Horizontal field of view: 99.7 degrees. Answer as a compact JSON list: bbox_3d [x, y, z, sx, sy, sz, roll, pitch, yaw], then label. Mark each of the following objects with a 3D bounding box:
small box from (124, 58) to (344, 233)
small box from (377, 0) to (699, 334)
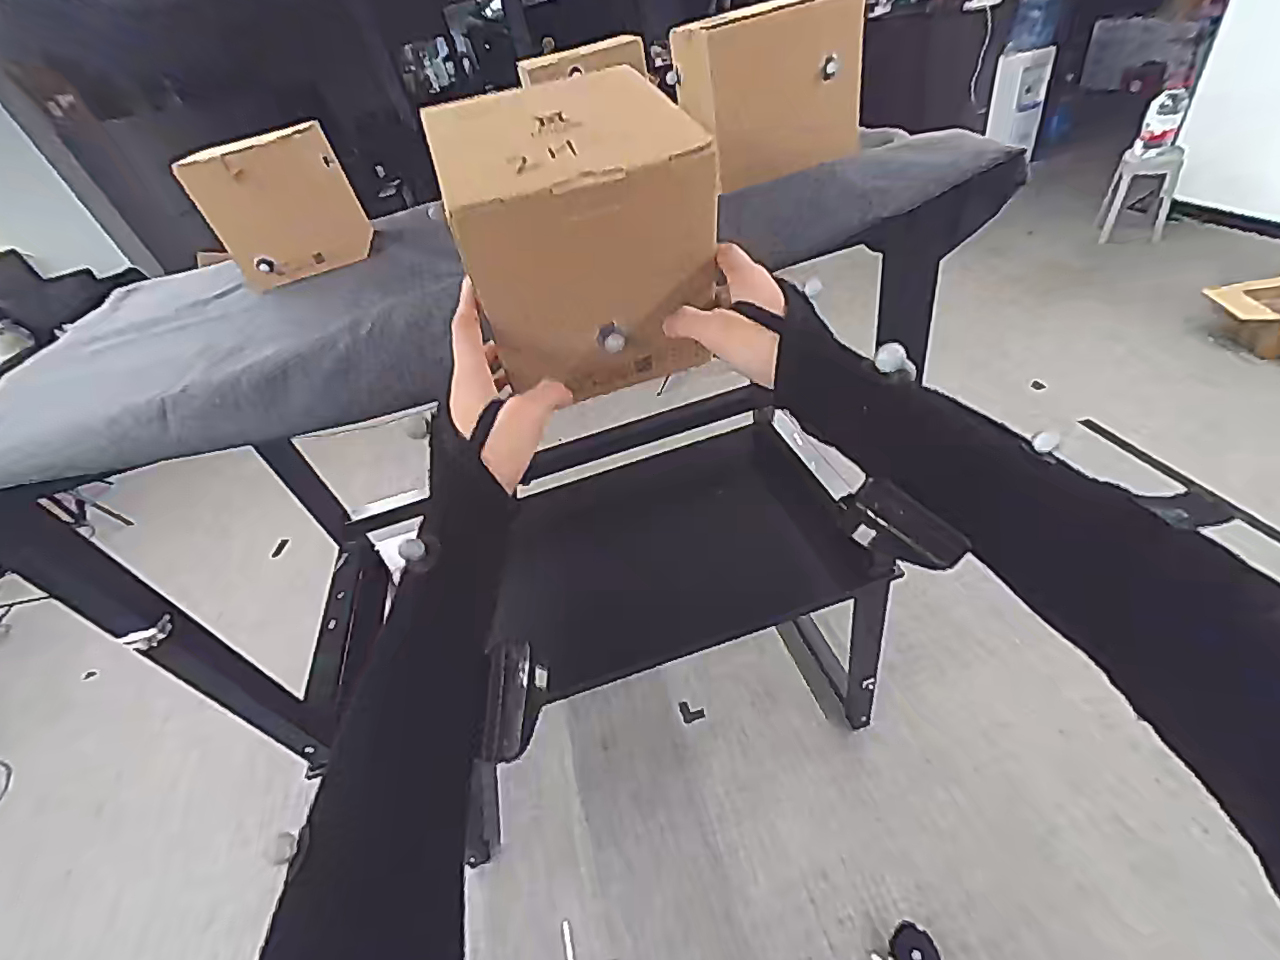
[{"bbox_3d":[-0.545,-0.466,0.760,0.168,0.176,0.179,-20,41,-7],"label":"small box"},{"bbox_3d":[-0.067,-0.234,0.385,0.168,0.176,0.179,-18,53,-8],"label":"small box"}]
